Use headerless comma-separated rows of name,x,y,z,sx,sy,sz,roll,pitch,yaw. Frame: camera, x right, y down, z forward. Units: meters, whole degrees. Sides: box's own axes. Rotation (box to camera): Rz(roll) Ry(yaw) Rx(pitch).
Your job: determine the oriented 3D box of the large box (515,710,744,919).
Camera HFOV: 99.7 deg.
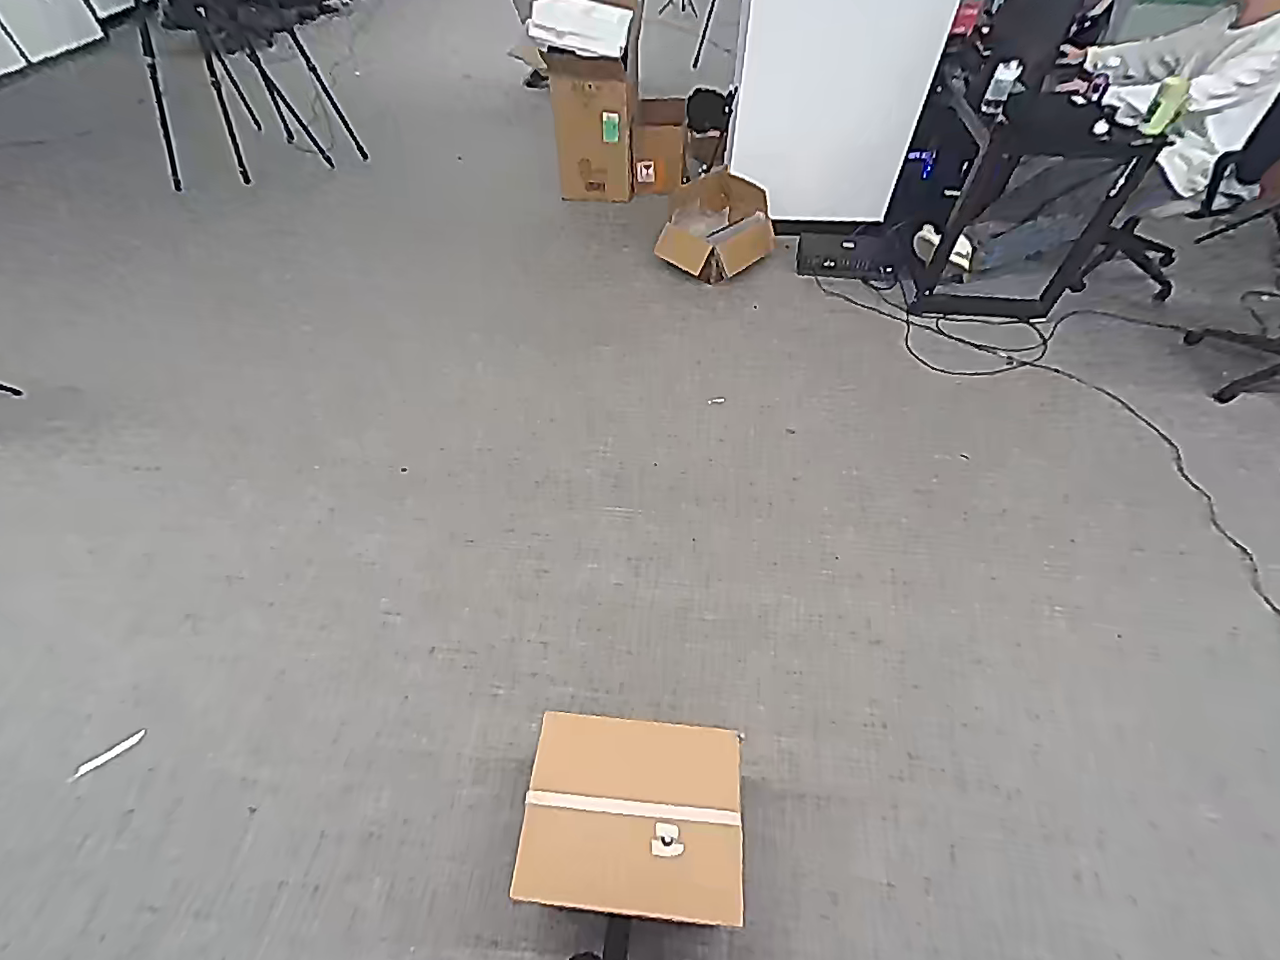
large box,-0.012,0.703,1.132,0.408,0.320,0.320,5,52,3
